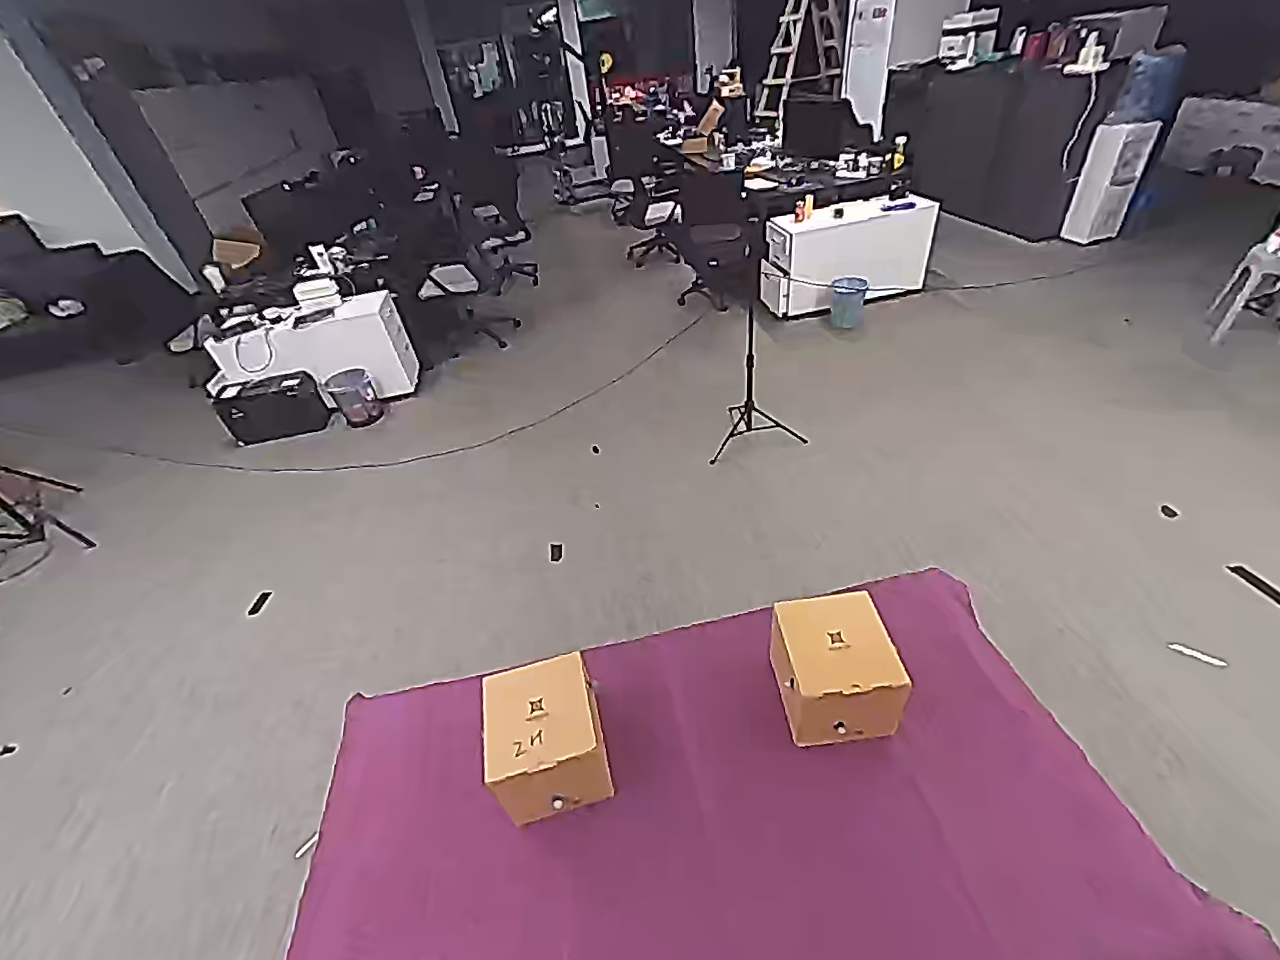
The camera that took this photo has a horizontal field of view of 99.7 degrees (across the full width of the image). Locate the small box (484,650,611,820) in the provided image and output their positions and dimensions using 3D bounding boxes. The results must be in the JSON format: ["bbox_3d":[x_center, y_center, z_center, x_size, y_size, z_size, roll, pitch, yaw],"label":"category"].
[{"bbox_3d":[-0.151,0.416,0.887,0.168,0.176,0.179,-14,40,-6],"label":"small box"}]

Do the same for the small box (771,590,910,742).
[{"bbox_3d":[0.325,0.315,0.919,0.168,0.176,0.179,-8,40,2],"label":"small box"}]
